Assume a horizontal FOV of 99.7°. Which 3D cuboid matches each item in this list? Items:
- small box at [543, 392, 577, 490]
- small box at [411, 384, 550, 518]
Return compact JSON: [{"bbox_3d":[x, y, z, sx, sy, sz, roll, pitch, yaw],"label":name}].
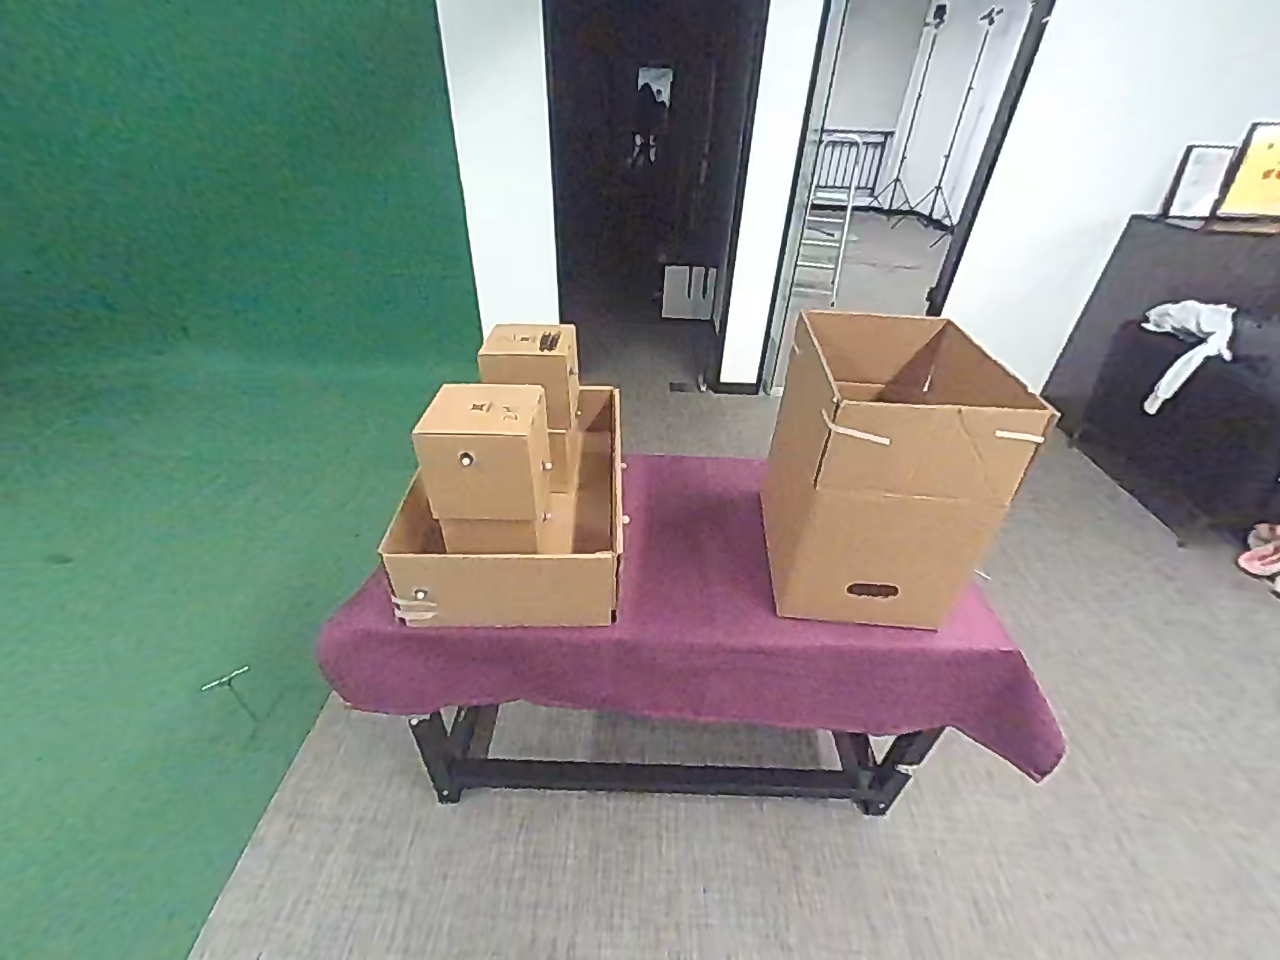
[{"bbox_3d":[-0.238,-0.090,1.251,0.168,0.176,0.179,1,37,0],"label":"small box"},{"bbox_3d":[-0.255,-0.049,0.914,0.179,0.176,0.168,1,37,0],"label":"small box"}]
